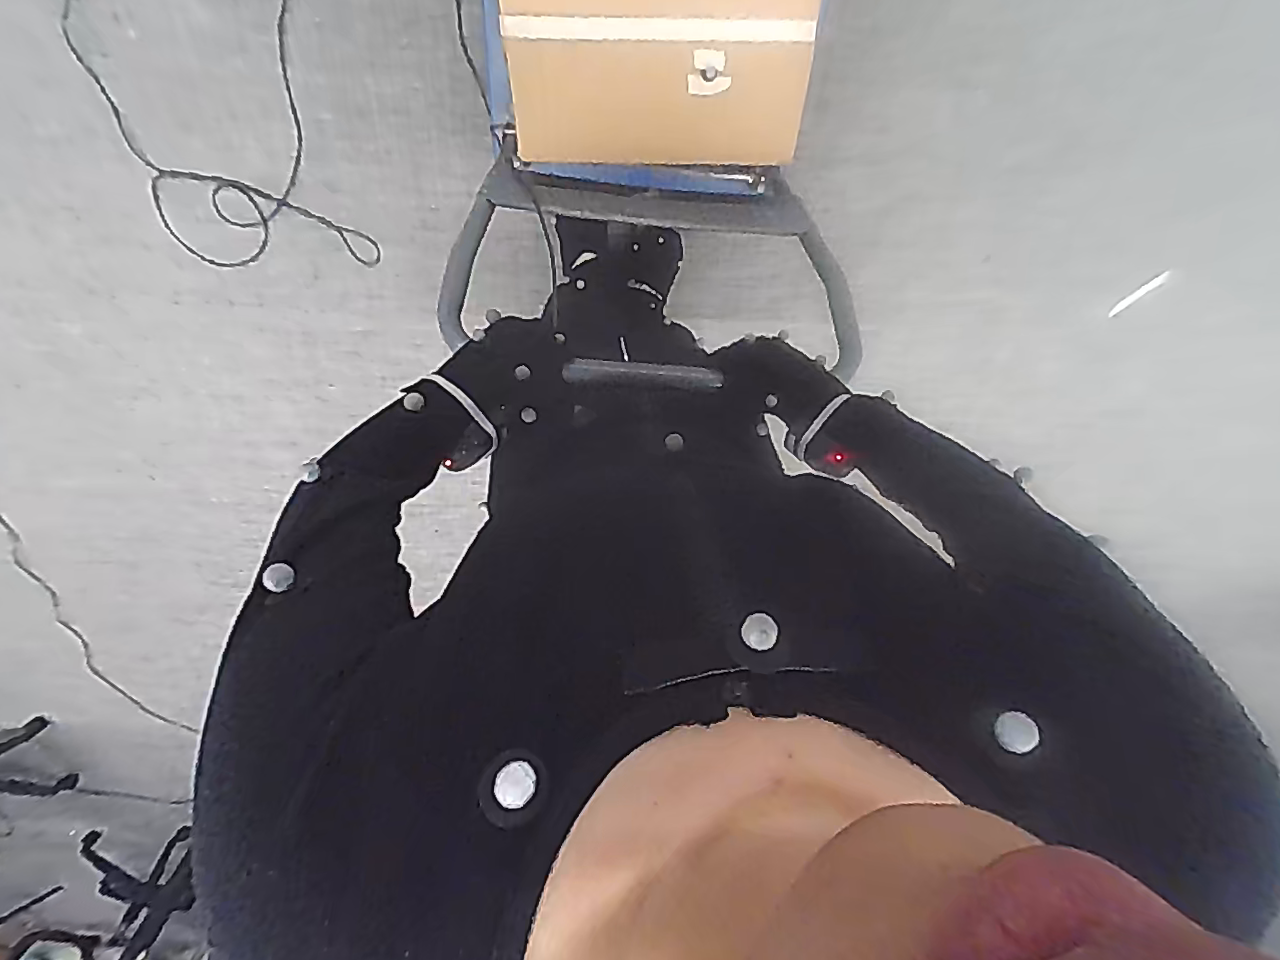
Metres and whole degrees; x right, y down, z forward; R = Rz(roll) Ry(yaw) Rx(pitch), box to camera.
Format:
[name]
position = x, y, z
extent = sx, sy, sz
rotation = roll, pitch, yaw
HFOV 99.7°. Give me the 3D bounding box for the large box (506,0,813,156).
[large box]
position = 0.018, -0.703, 0.813
extent = 0.408, 0.320, 0.320
rotation = -1, 135, -2
